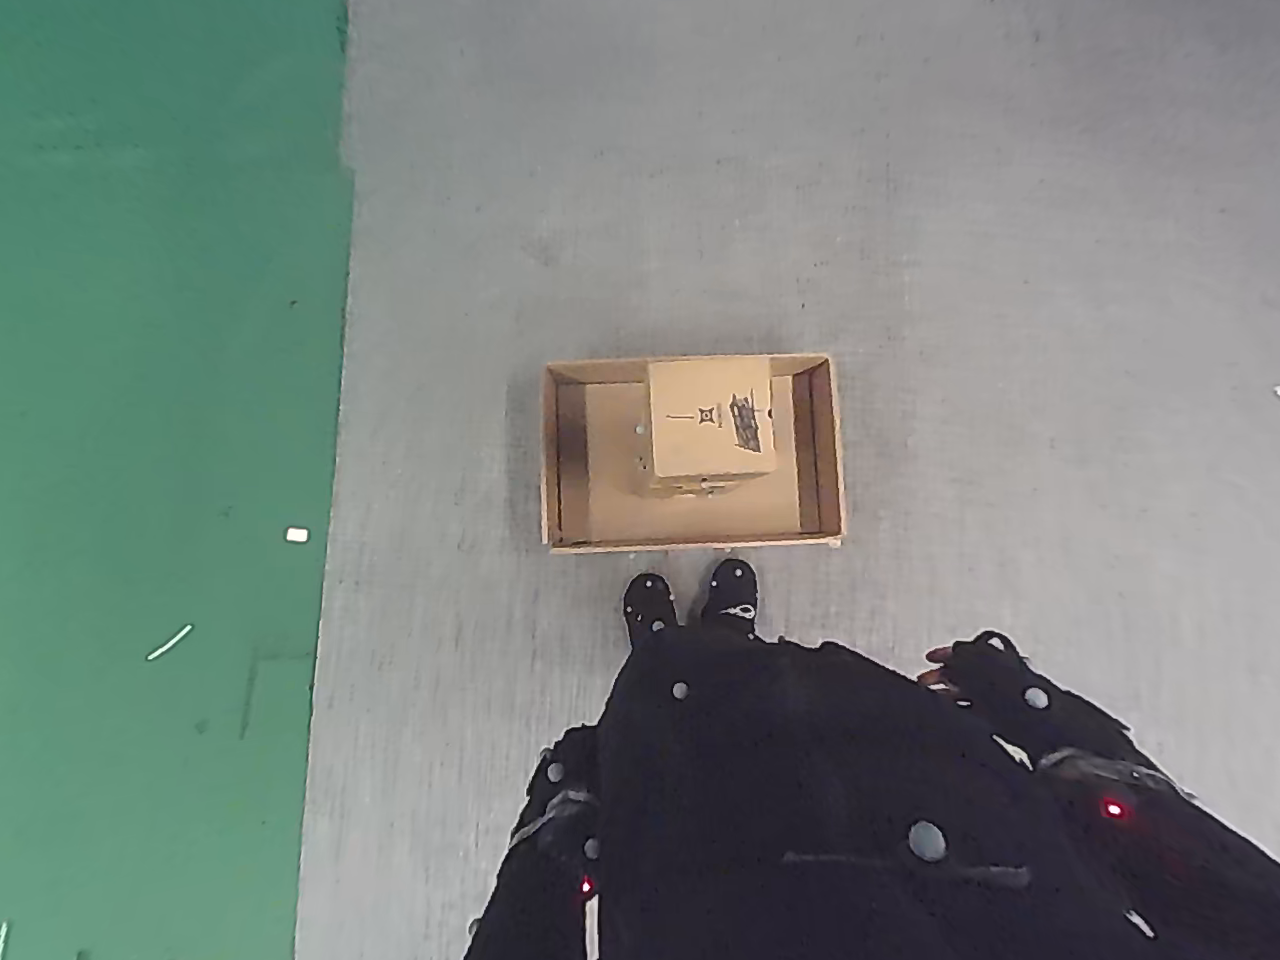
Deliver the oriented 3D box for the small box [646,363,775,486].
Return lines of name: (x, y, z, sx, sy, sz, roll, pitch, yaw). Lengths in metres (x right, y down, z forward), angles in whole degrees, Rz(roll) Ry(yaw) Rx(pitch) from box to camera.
small box: (0.102, -0.079, 0.850, 0.179, 0.176, 0.168, -3, 85, 0)

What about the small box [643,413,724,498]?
small box: (0.091, -0.051, 1.176, 0.168, 0.176, 0.179, -2, 85, 0)

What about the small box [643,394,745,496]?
small box: (0.094, -0.062, 0.997, 0.168, 0.176, 0.179, -5, 86, 0)
